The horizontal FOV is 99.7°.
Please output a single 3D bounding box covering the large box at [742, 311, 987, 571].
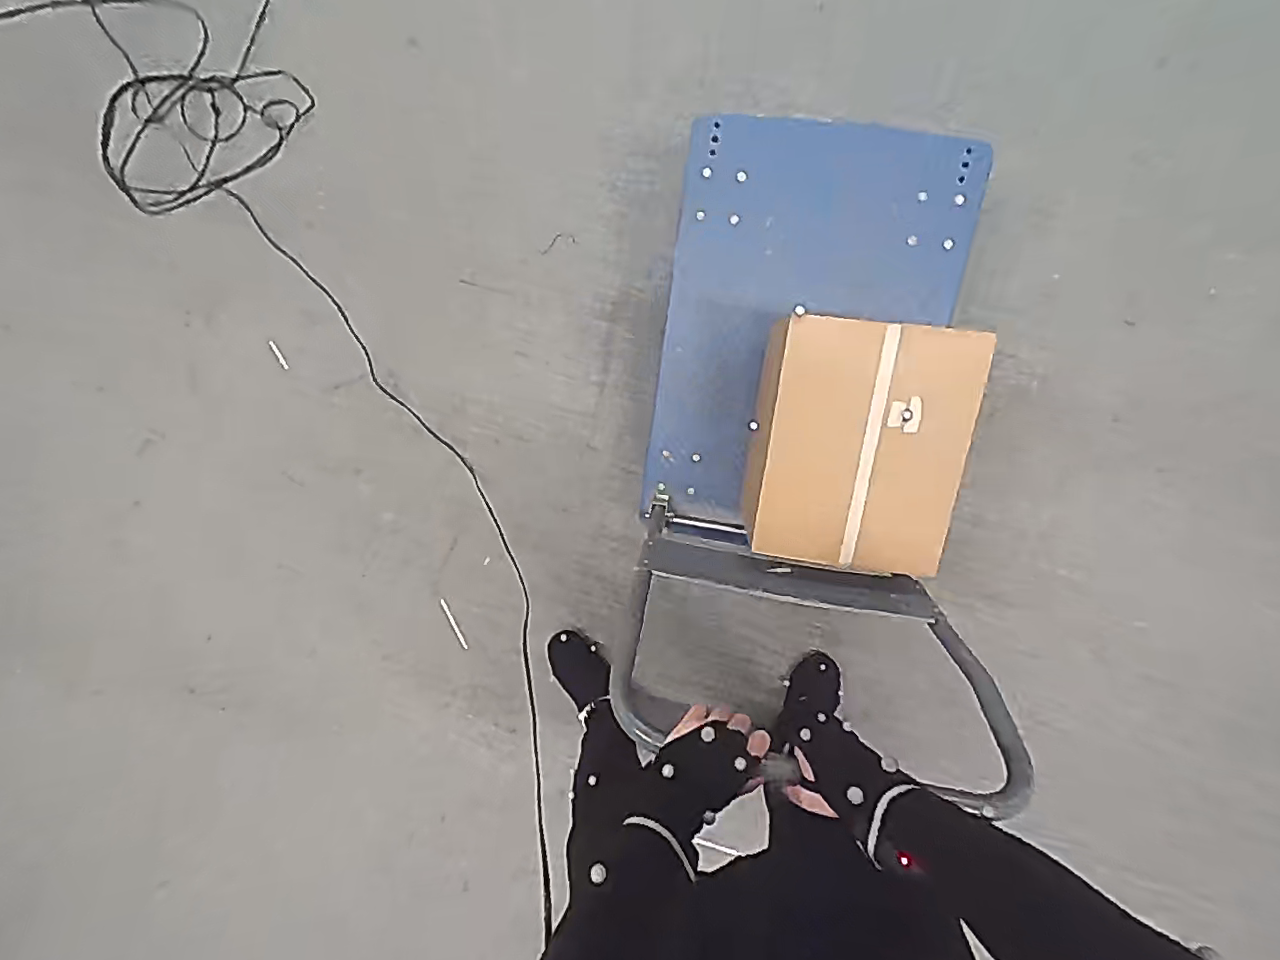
[{"bbox_3d":[0.379,-0.086,1.027,0.320,0.320,0.408,8,103,4],"label":"large box"}]
